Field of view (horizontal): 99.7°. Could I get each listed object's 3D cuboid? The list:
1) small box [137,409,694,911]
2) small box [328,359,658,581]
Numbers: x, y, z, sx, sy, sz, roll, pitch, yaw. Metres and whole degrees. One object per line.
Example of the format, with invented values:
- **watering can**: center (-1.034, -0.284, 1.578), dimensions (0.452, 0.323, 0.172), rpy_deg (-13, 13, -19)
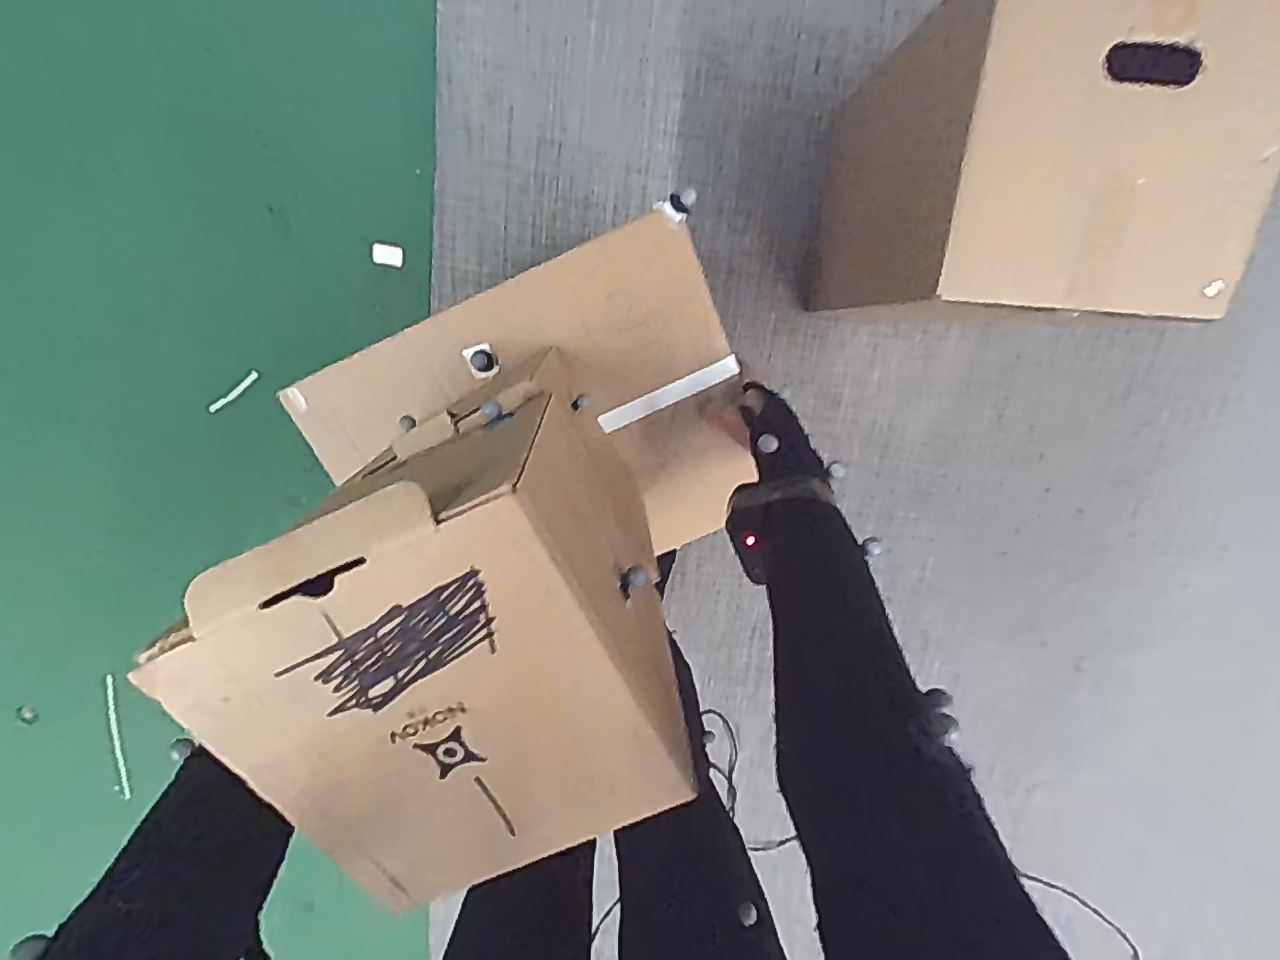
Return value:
- **small box**: center (-0.089, 0.074, 0.300), dimensions (0.168, 0.176, 0.179), rpy_deg (-24, 111, 5)
- **small box**: center (-0.104, 0.013, 0.451), dimensions (0.168, 0.176, 0.179), rpy_deg (-29, 109, 6)
